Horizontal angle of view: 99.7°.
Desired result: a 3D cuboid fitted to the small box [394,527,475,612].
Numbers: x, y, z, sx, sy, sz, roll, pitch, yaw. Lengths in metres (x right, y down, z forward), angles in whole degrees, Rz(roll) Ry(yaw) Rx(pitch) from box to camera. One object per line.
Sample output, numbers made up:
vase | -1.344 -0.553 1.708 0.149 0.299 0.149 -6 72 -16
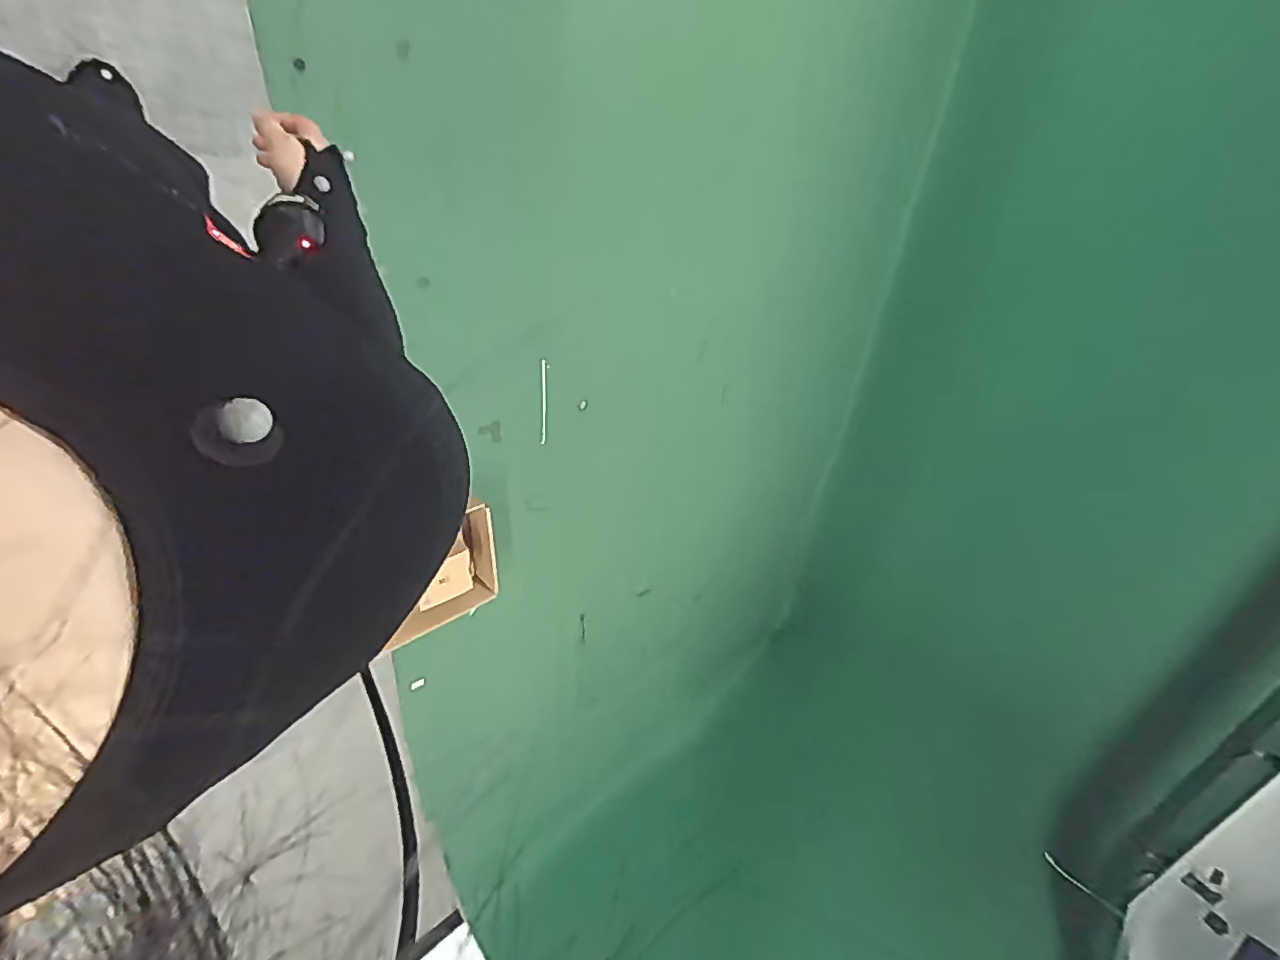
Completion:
small box | -0.644 0.273 1.699 0.179 0.176 0.168 -22 131 -37
